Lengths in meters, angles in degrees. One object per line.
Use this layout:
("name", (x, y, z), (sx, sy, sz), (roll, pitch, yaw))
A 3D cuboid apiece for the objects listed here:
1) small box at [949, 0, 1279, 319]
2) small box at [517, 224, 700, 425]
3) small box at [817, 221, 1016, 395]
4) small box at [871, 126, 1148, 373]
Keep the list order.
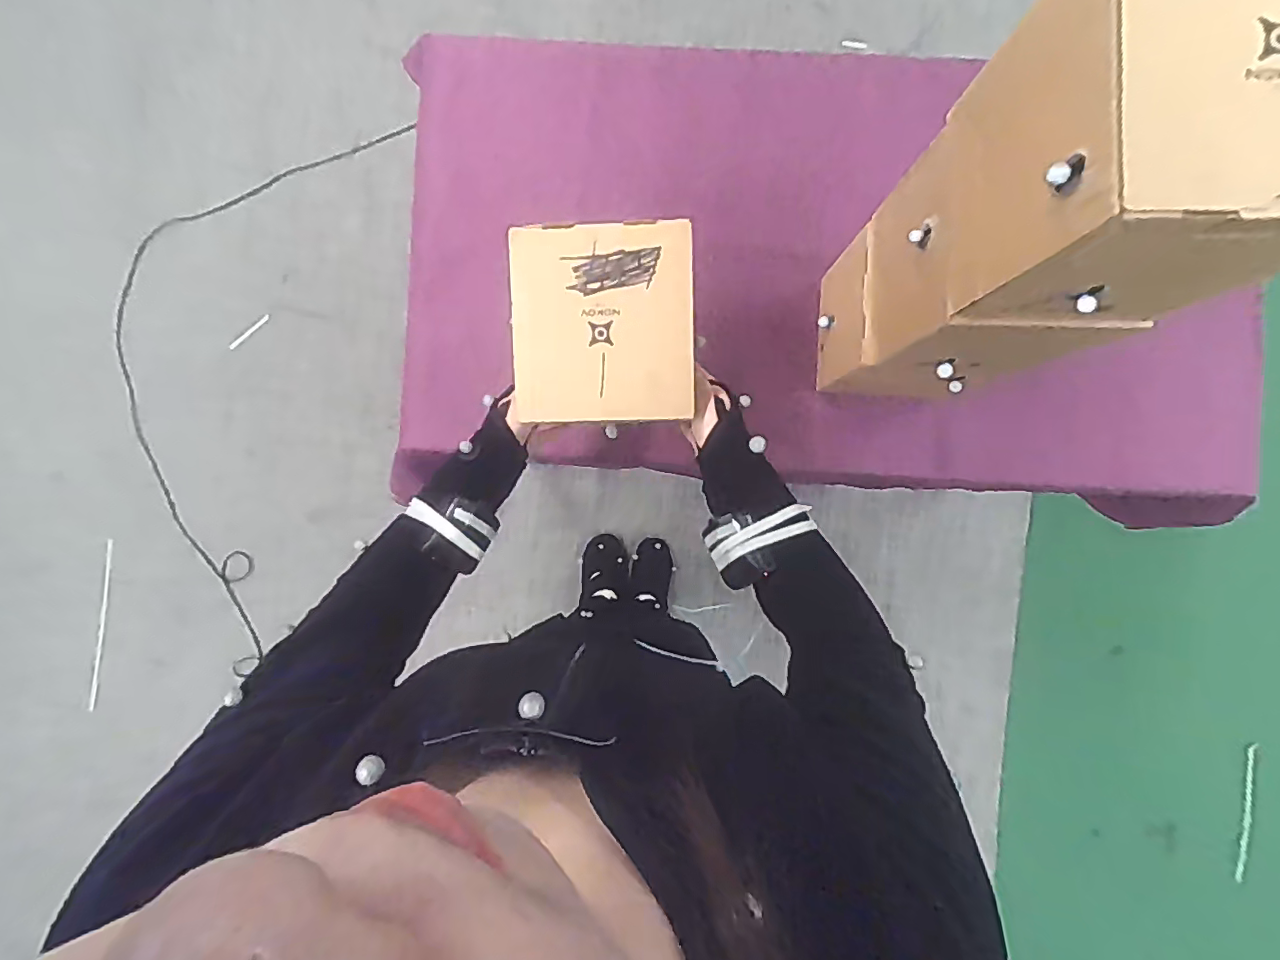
("small box", (0.333, -0.221, 0.363), (0.168, 0.176, 0.179), (0, 90, 2))
("small box", (-0.024, -0.147, 0.566), (0.168, 0.176, 0.179), (-1, 97, 4))
("small box", (0.343, -0.205, 0.689), (0.179, 0.176, 0.168), (3, 88, 1))
("small box", (0.339, -0.211, 0.526), (0.168, 0.176, 0.179), (2, 90, 2))
